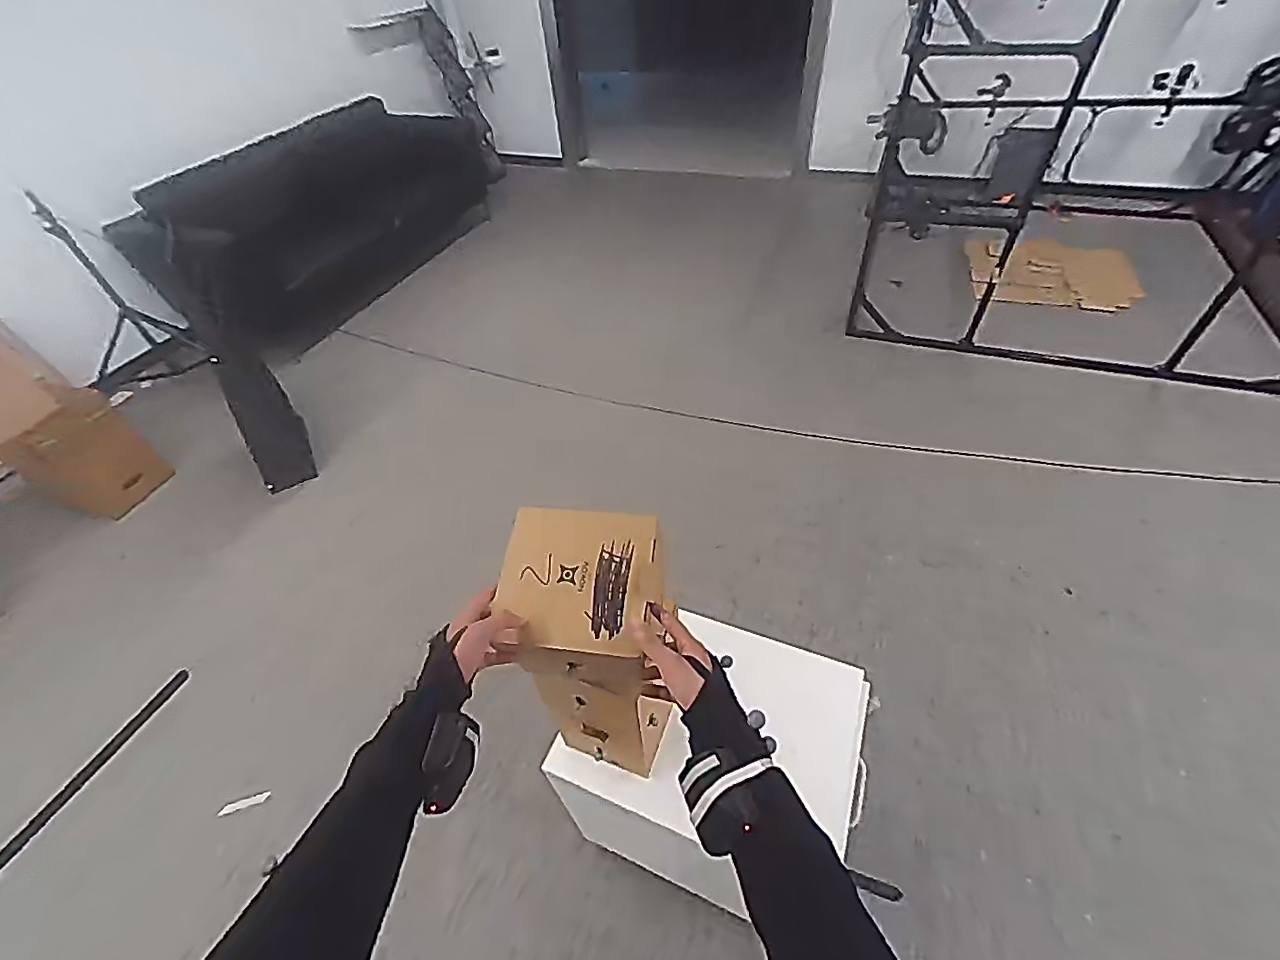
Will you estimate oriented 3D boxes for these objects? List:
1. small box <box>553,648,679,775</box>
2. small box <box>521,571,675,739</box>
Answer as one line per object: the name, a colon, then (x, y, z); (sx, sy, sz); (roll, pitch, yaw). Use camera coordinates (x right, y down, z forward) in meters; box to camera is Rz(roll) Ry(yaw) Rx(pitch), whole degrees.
small box: (-0.037, 0.385, 0.959); (0.168, 0.176, 0.179); (14, 49, 18)
small box: (-0.052, 0.275, 0.837); (0.179, 0.176, 0.168); (14, 49, 19)
